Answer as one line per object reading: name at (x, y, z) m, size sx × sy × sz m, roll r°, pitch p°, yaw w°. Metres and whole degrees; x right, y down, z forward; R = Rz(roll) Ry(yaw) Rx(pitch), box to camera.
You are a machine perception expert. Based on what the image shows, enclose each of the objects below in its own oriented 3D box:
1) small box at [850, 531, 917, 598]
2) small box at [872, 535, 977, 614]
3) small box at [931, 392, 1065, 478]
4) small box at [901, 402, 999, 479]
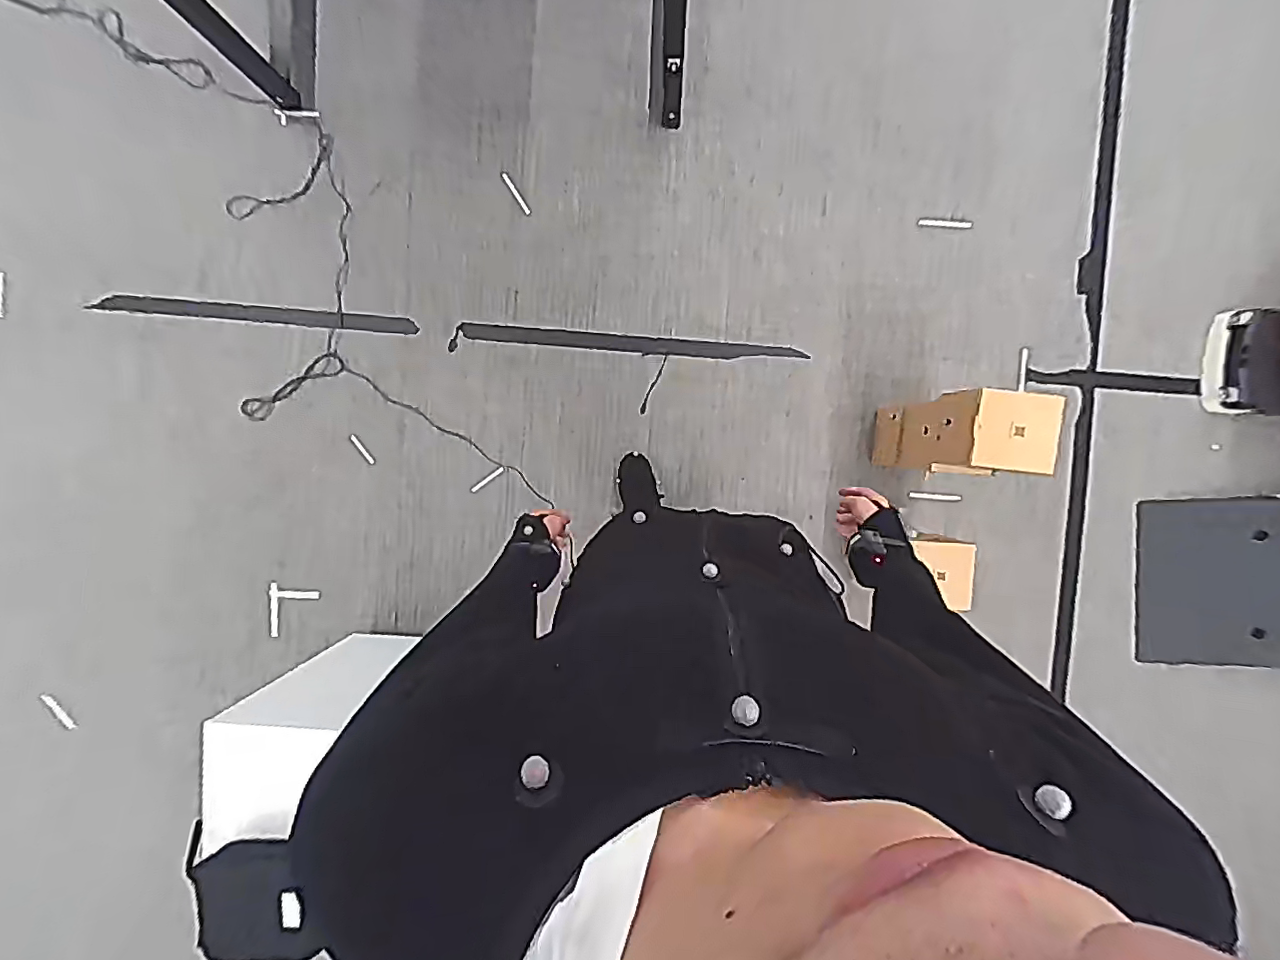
small box at (0.724, 0.240, 1.553) m, size 0.179 × 0.176 × 0.168 m, roll 2°, pitch 92°, yaw 2°
small box at (0.723, 0.236, 1.387) m, size 0.179 × 0.176 × 0.168 m, roll 3°, pitch 92°, yaw 1°
small box at (0.787, -0.099, 1.203) m, size 0.179 × 0.176 × 0.168 m, roll 6°, pitch 94°, yaw 2°
small box at (0.783, -0.099, 1.366) m, size 0.168 × 0.176 × 0.179 m, roll 4°, pitch 94°, yaw 1°
